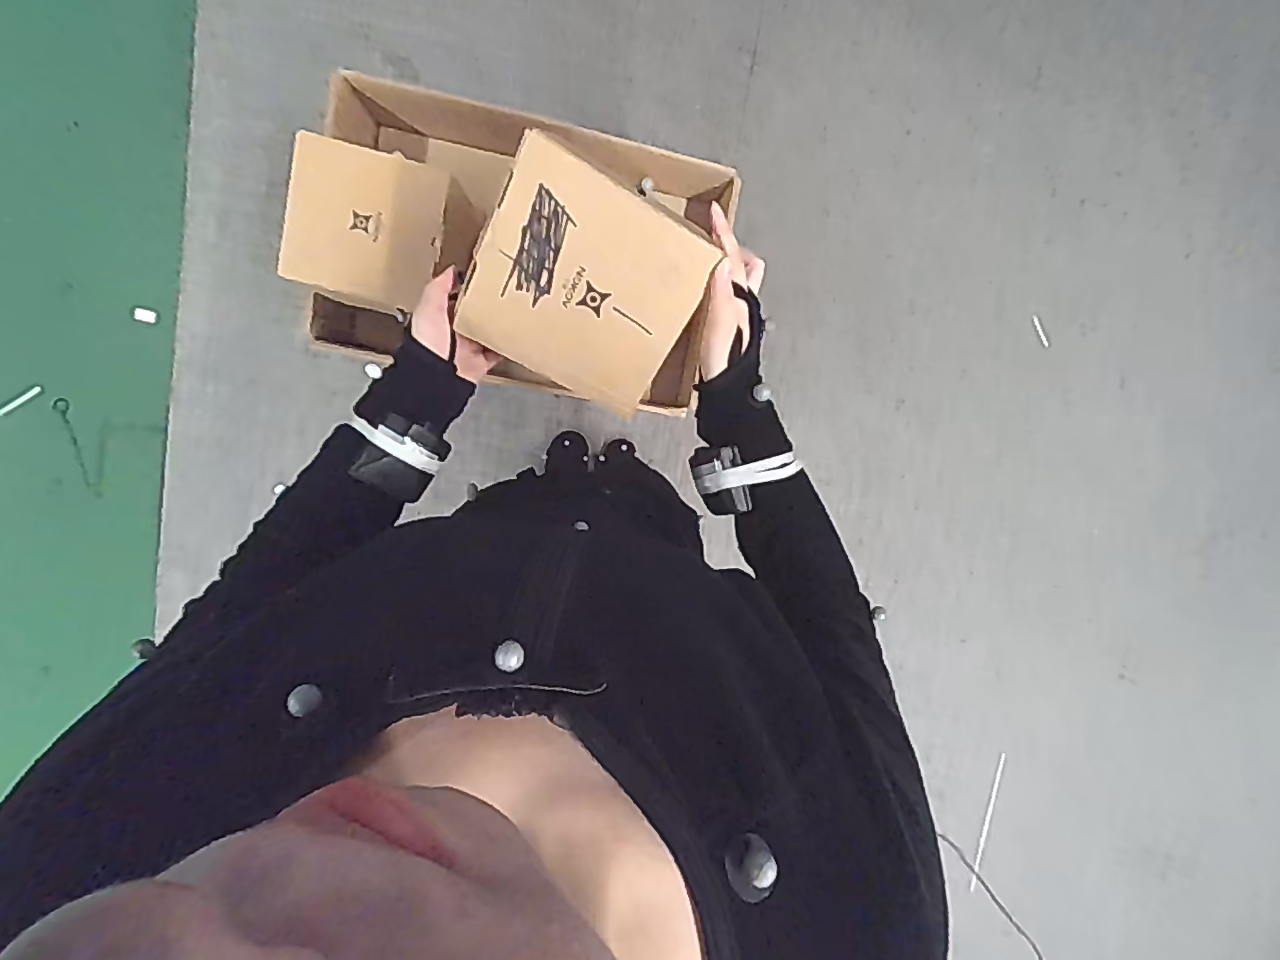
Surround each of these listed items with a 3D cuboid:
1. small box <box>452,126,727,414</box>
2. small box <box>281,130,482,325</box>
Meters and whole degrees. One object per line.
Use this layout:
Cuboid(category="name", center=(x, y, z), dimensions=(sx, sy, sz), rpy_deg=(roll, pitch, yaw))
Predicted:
Cuboid(category="small box", center=(-0.047, -0.196, 0.511), dimensions=(0.179, 0.176, 0.168), rpy_deg=(25, 117, -16))
Cuboid(category="small box", center=(-0.323, -0.311, 0.709), dimensions=(0.179, 0.176, 0.168), rpy_deg=(13, 97, -8))
